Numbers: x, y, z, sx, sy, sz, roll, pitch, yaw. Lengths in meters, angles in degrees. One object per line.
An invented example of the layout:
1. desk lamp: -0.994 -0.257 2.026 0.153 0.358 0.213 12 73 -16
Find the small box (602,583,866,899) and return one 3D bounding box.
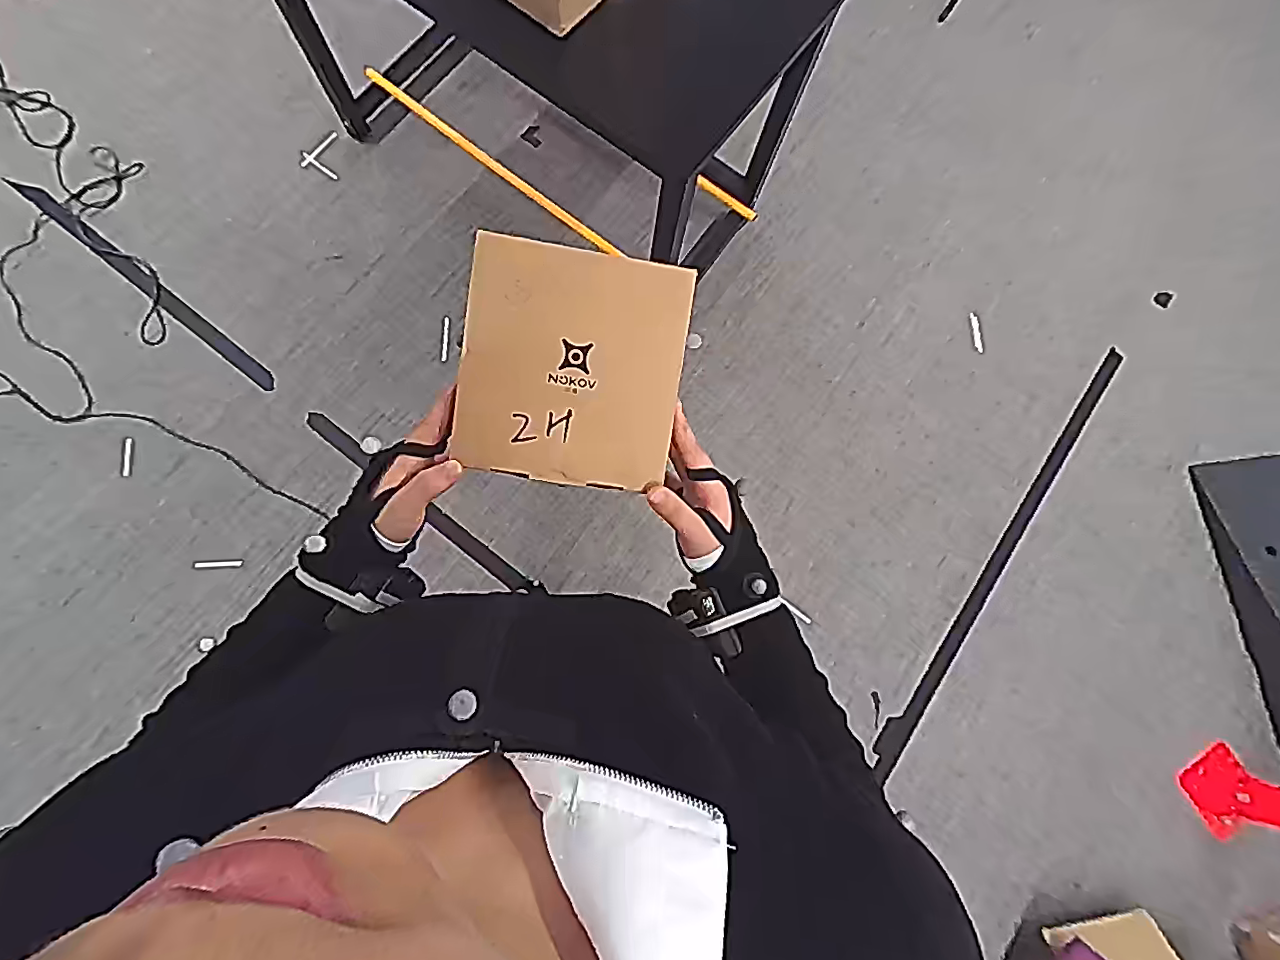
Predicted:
1. small box: 0.084 0.231 0.487 0.179 0.176 0.168 21 120 1
